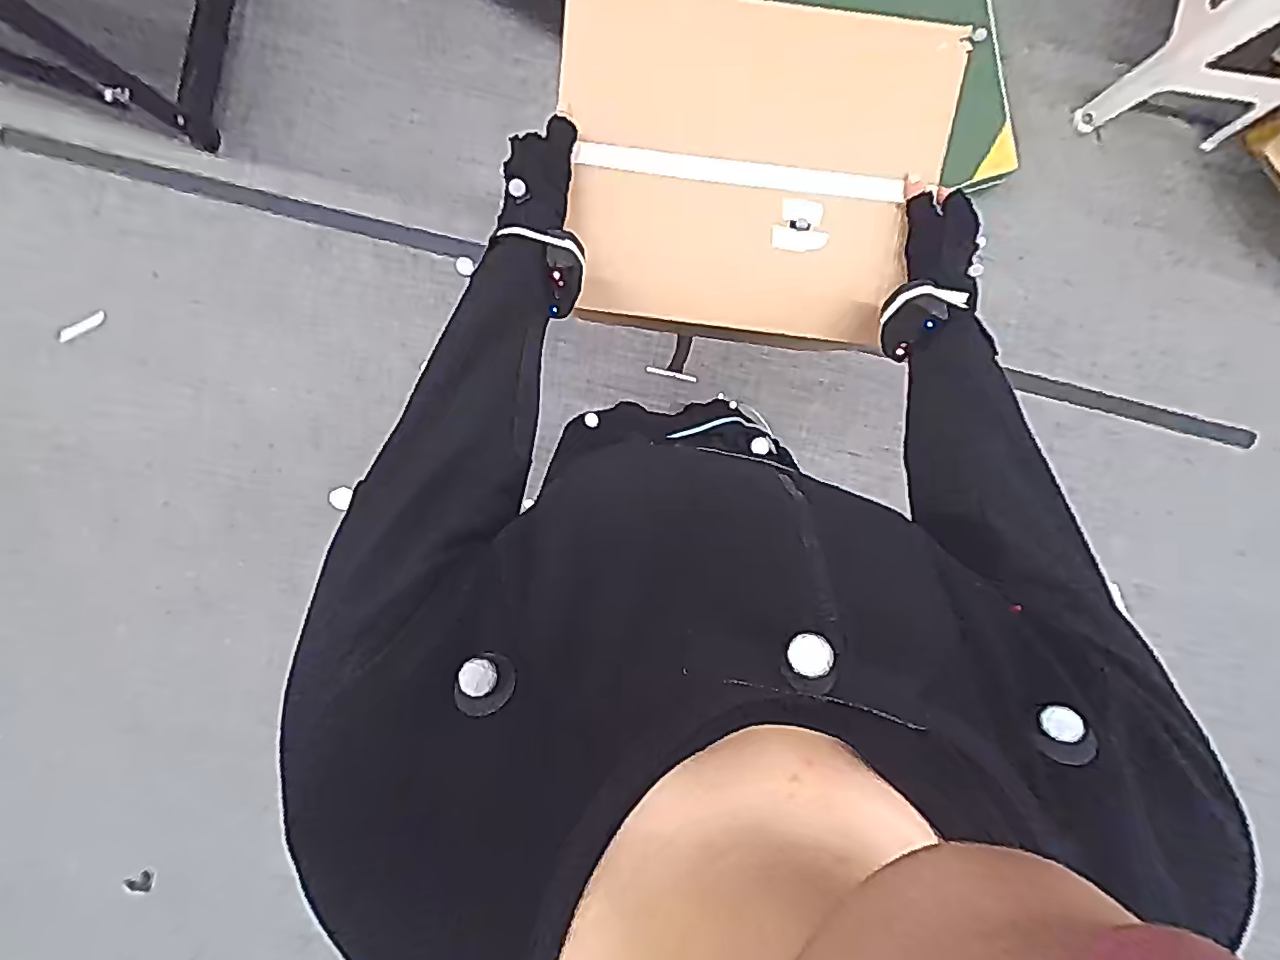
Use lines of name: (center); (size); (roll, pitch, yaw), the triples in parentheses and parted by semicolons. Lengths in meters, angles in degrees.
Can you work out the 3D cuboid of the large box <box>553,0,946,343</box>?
large box: (0.108, -0.364, 0.737); (0.408, 0.320, 0.320); (6, 104, -1)
